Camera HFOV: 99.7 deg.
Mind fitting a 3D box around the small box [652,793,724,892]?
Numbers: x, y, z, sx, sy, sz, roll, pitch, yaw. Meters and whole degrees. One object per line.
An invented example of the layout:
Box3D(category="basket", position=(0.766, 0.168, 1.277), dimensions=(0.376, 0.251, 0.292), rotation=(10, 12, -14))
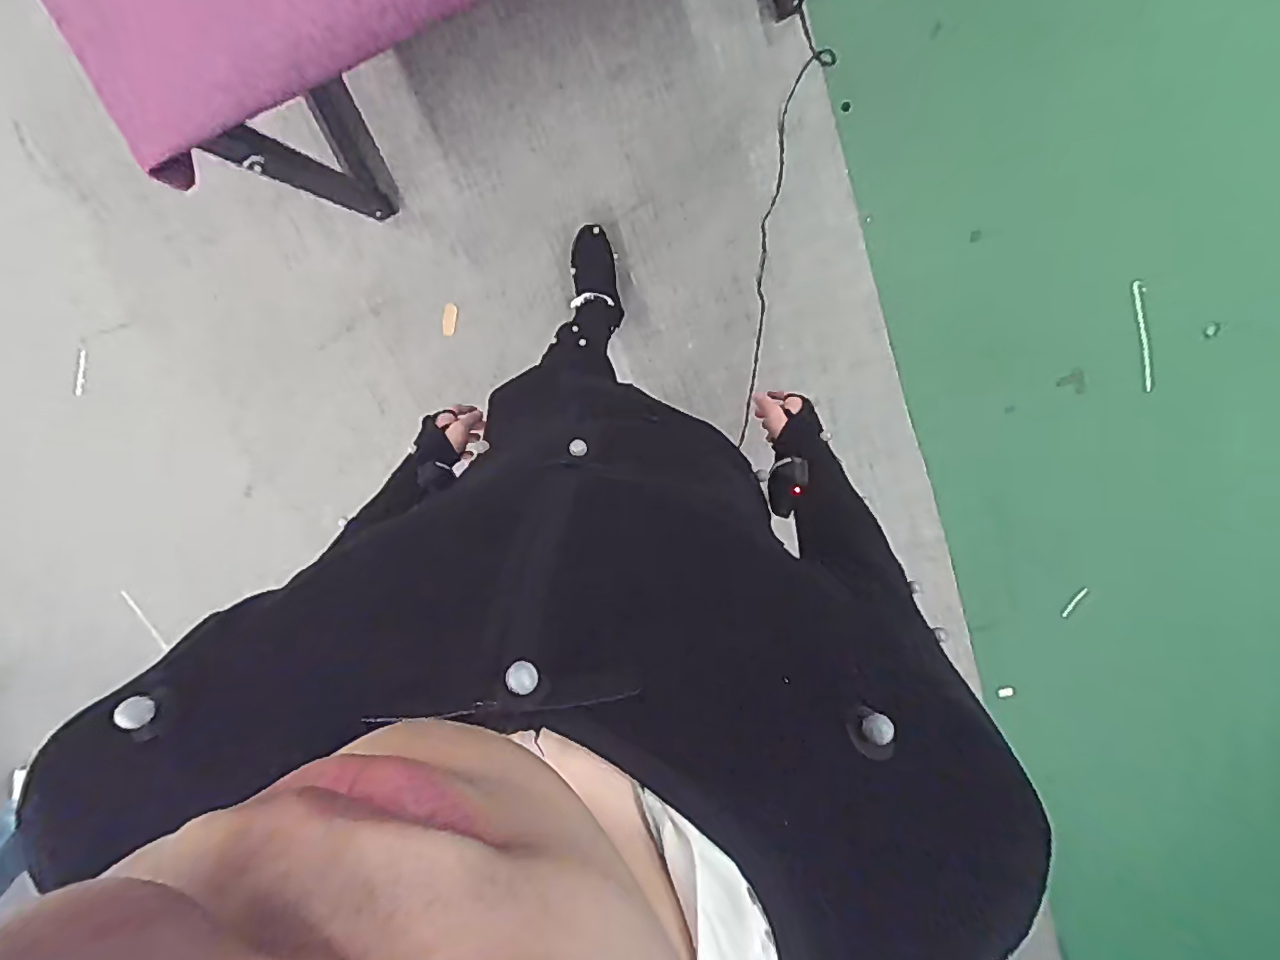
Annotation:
Box3D(category="small box", position=(0.145, 1.117, 1.677), dimensions=(0.179, 0.176, 0.168), rotation=(-21, 103, 4))
